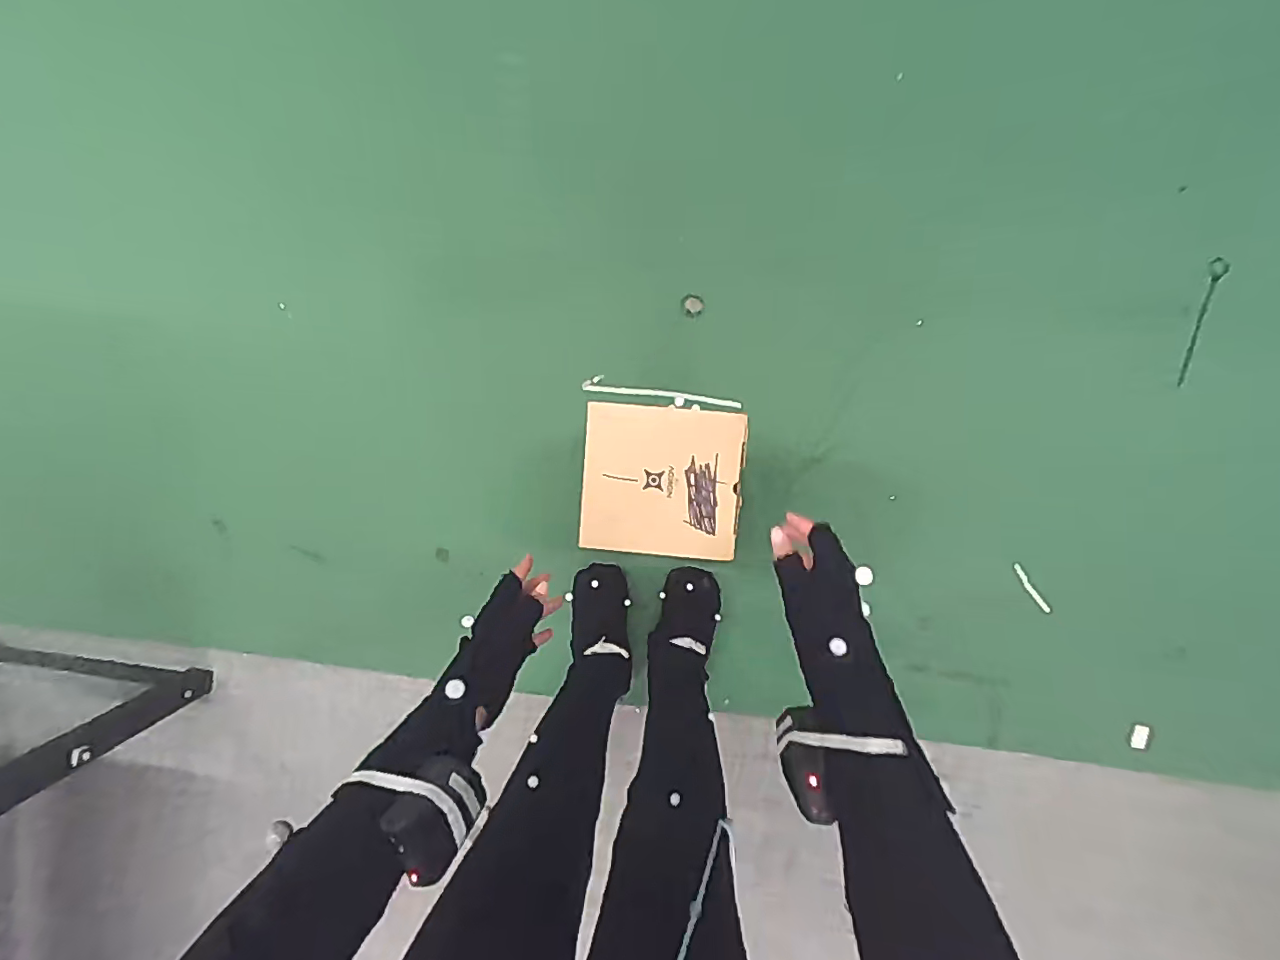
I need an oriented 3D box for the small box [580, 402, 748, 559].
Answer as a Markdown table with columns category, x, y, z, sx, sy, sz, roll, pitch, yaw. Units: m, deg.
| category | x | y | z | sx | sy | sz | roll | pitch | yaw |
| --- | --- | --- | --- | --- | --- | --- | --- | --- | --- |
| small box | 0.030 | -0.008 | 0.676 | 0.179 | 0.176 | 0.168 | 5 | 96 | 4 |
